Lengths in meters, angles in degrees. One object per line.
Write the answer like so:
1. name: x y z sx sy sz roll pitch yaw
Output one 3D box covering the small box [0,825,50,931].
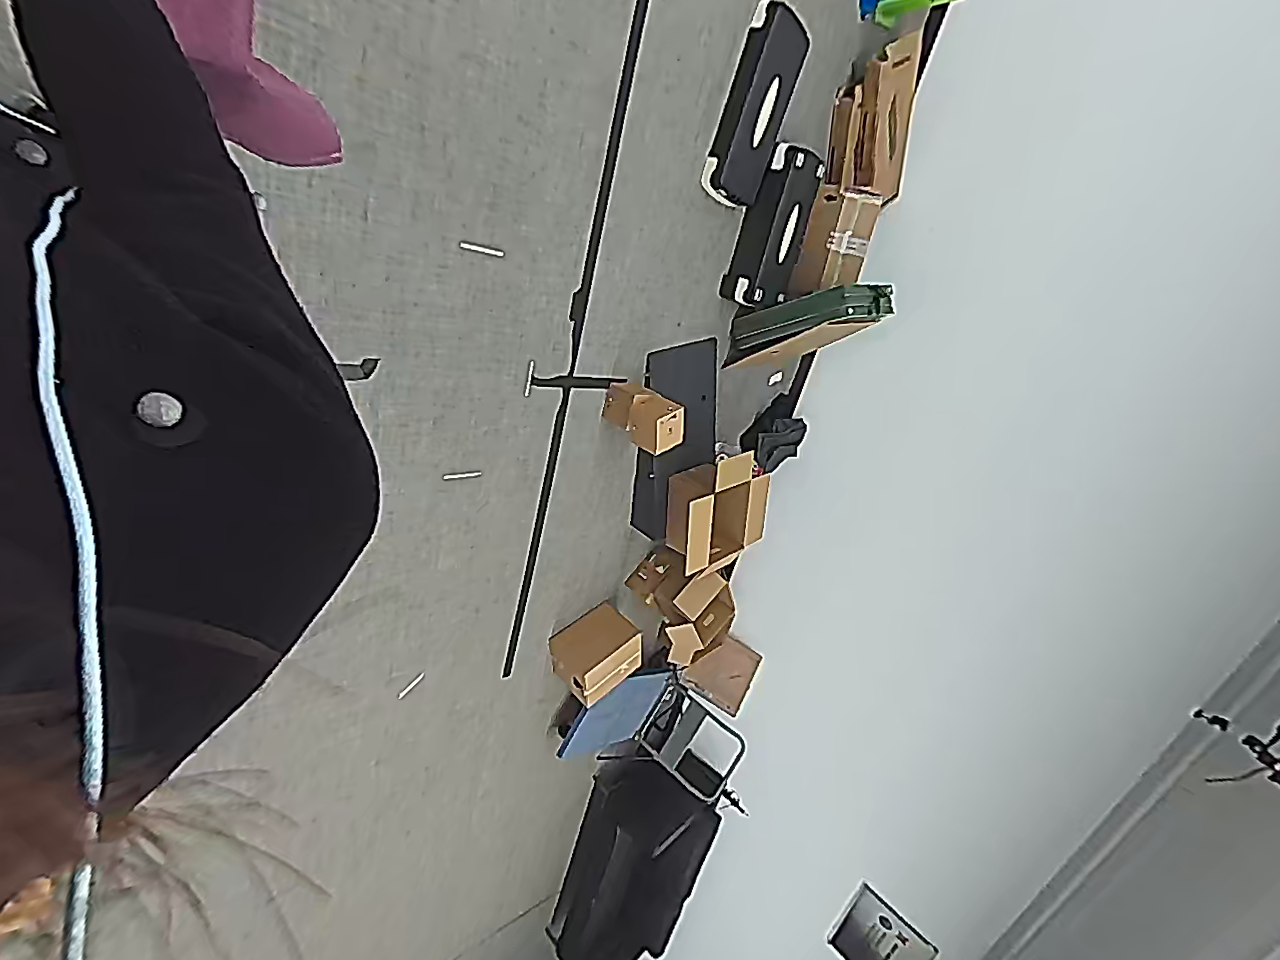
1. small box: -1.744 1.098 1.471 0.179 0.176 0.168 -1 116 -52
